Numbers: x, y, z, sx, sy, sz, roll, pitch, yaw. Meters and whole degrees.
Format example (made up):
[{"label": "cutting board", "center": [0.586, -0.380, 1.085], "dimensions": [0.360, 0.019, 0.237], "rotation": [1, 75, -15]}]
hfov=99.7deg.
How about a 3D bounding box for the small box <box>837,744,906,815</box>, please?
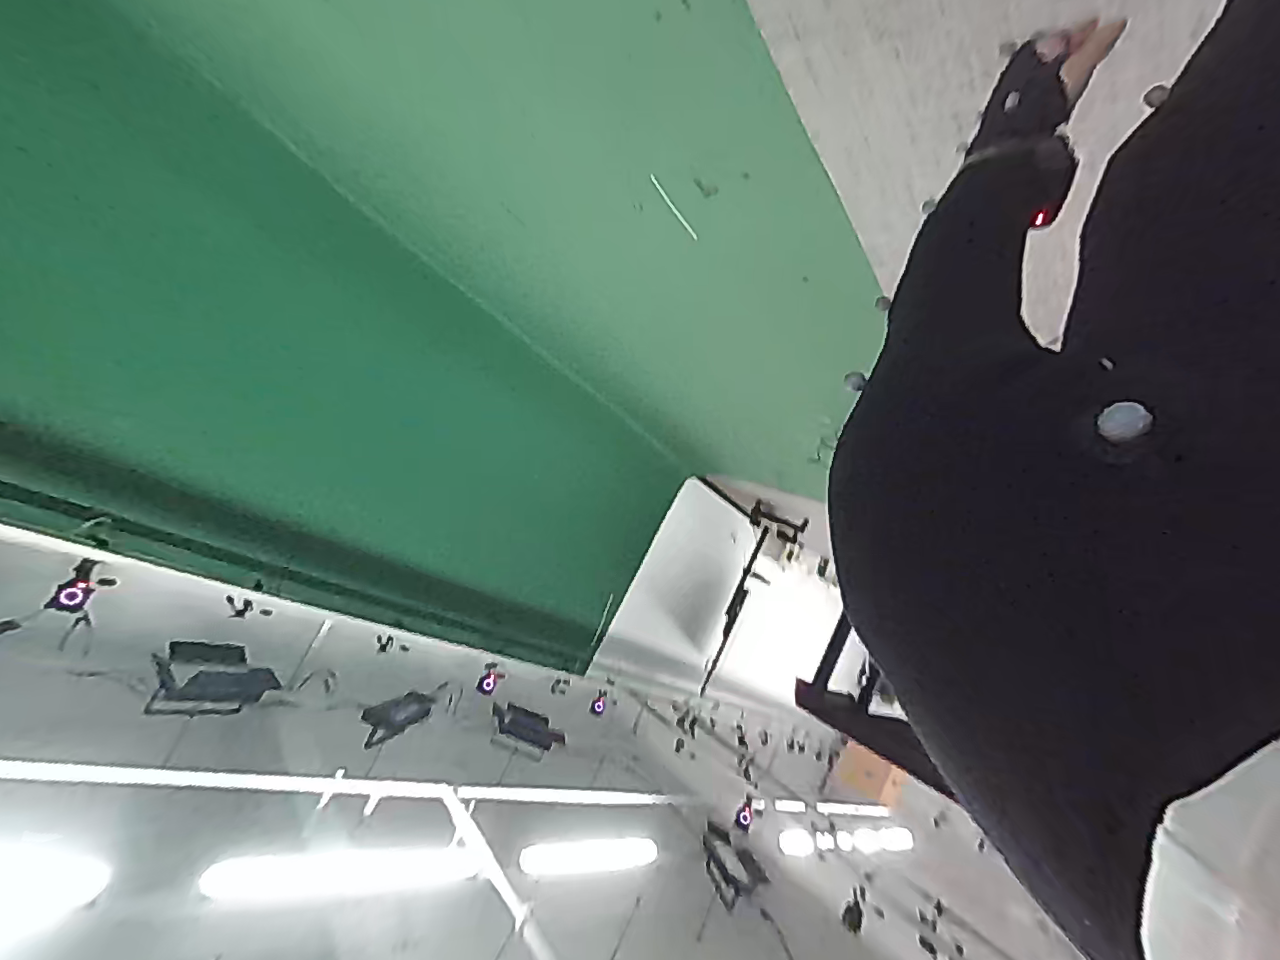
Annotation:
[{"label": "small box", "center": [0.875, 1.123, 2.029], "dimensions": [0.179, 0.176, 0.168], "rotation": [16, 165, 47]}]
